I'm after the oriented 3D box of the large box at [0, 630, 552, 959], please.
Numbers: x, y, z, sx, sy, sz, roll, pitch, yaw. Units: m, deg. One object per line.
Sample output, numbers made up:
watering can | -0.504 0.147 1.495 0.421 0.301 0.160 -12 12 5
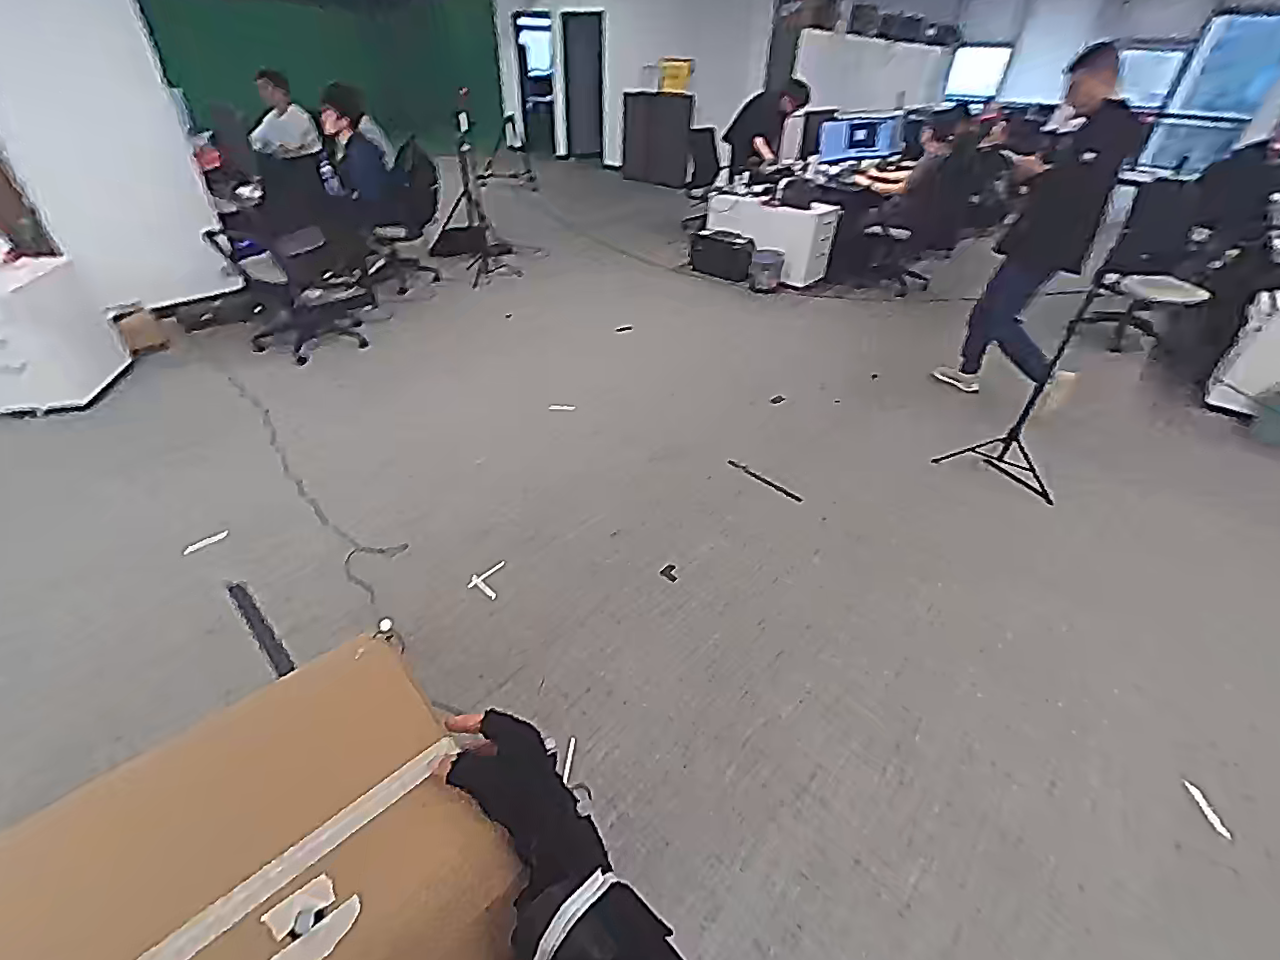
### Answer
large box | -0.330 0.430 0.491 0.408 0.320 0.320 -28 56 -34
